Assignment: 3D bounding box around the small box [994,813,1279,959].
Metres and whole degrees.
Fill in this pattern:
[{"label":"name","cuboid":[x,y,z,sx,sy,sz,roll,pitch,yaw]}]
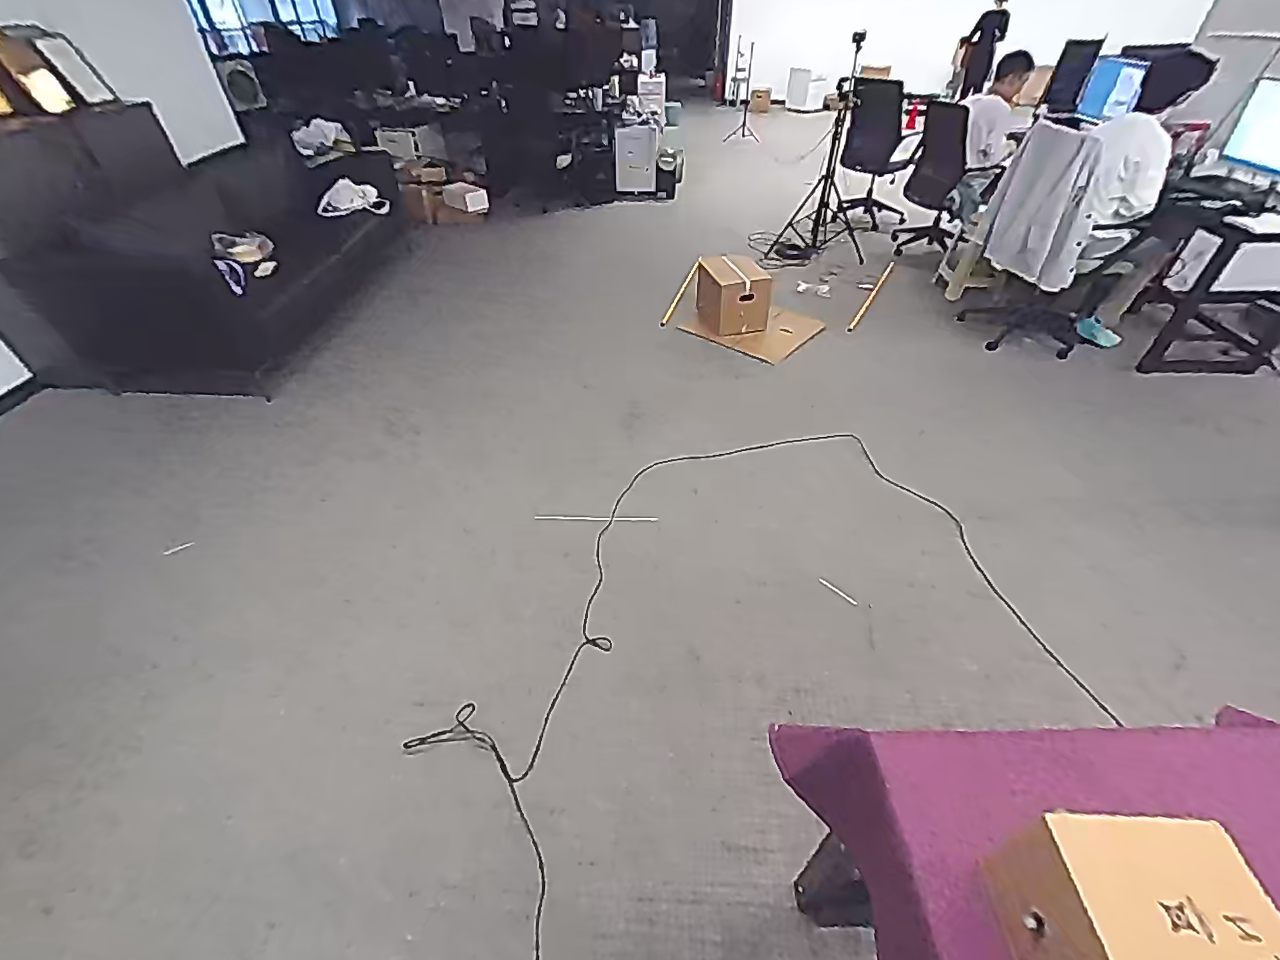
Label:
[{"label":"small box","cuboid":[0.489,0.452,0.535,0.179,0.176,0.168,2,43,3]}]
